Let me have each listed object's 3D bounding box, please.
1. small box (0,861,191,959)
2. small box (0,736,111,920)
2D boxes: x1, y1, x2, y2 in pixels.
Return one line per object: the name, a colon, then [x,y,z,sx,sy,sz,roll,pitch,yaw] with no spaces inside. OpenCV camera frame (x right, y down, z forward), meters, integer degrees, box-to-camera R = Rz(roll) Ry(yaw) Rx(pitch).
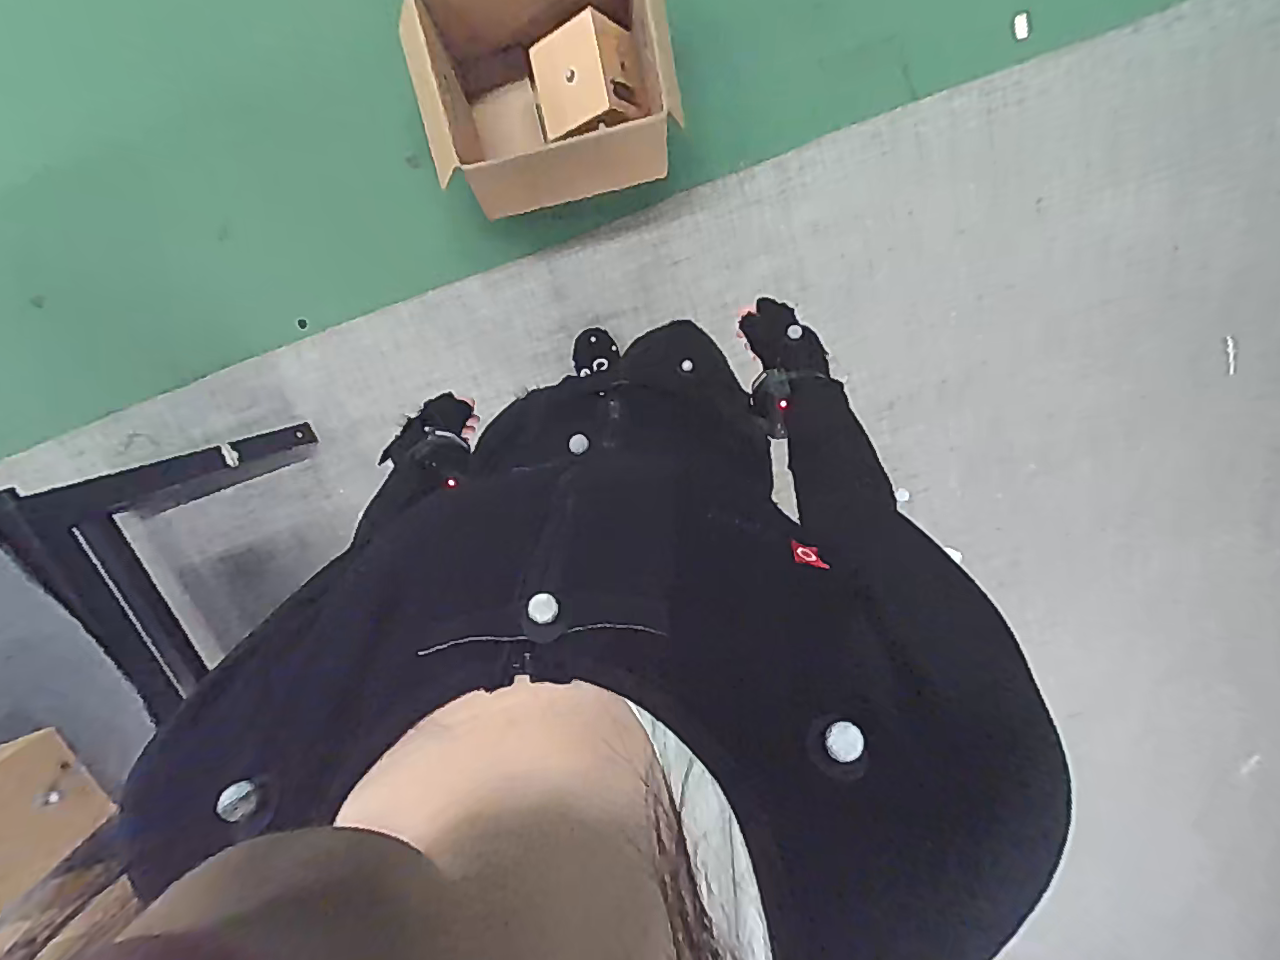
small box: [-0.822,0.710,0.797,0.179,0.176,0.168,-19,104,3]
small box: [-0.908,0.491,0.737,0.179,0.176,0.168,-21,105,3]
